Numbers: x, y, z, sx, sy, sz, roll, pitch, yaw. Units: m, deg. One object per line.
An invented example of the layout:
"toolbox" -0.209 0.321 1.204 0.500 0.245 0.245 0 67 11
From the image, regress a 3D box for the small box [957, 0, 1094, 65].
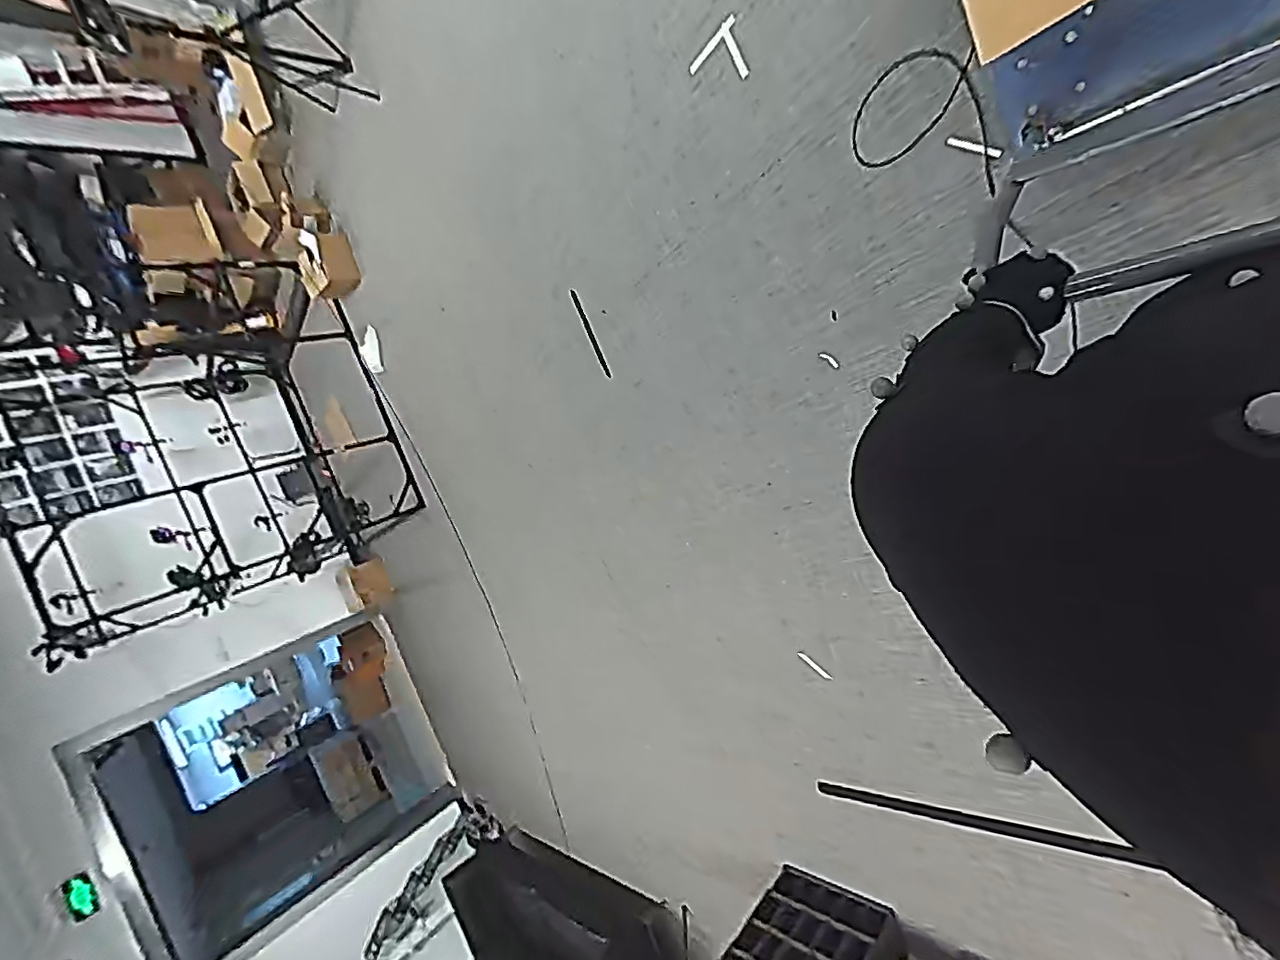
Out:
"small box" 0.610 -0.789 0.836 0.179 0.176 0.168 -11 117 48
